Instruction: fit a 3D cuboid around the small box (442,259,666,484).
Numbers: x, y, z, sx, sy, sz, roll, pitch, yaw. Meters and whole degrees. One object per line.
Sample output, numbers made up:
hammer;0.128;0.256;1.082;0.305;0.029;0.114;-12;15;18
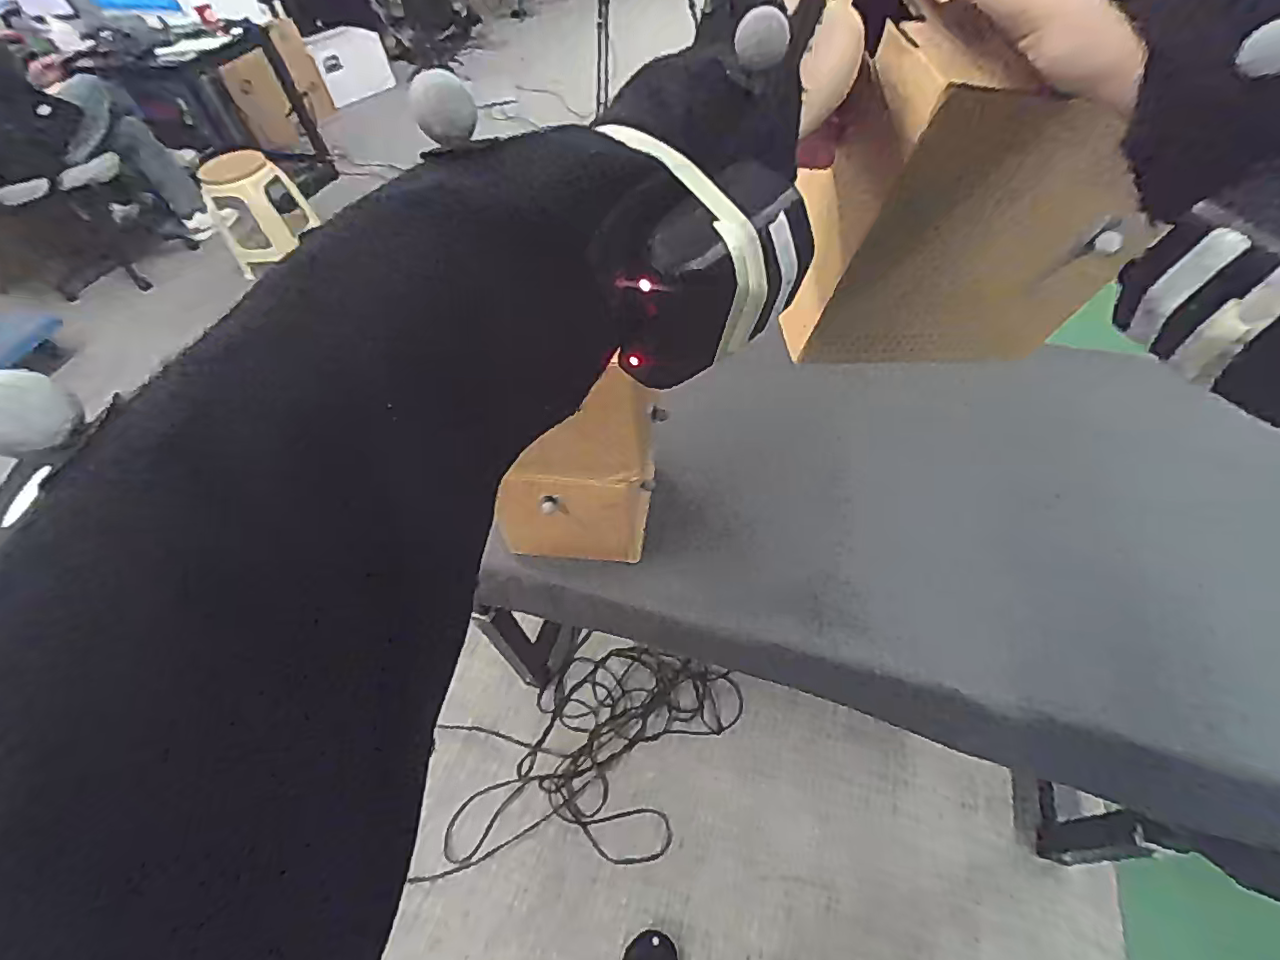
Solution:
small box;-0.071;-0.111;0.569;0.179;0.176;0.168;5;53;8

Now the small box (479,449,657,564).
small box;-0.075;-0.007;0.695;0.179;0.176;0.168;4;51;9
